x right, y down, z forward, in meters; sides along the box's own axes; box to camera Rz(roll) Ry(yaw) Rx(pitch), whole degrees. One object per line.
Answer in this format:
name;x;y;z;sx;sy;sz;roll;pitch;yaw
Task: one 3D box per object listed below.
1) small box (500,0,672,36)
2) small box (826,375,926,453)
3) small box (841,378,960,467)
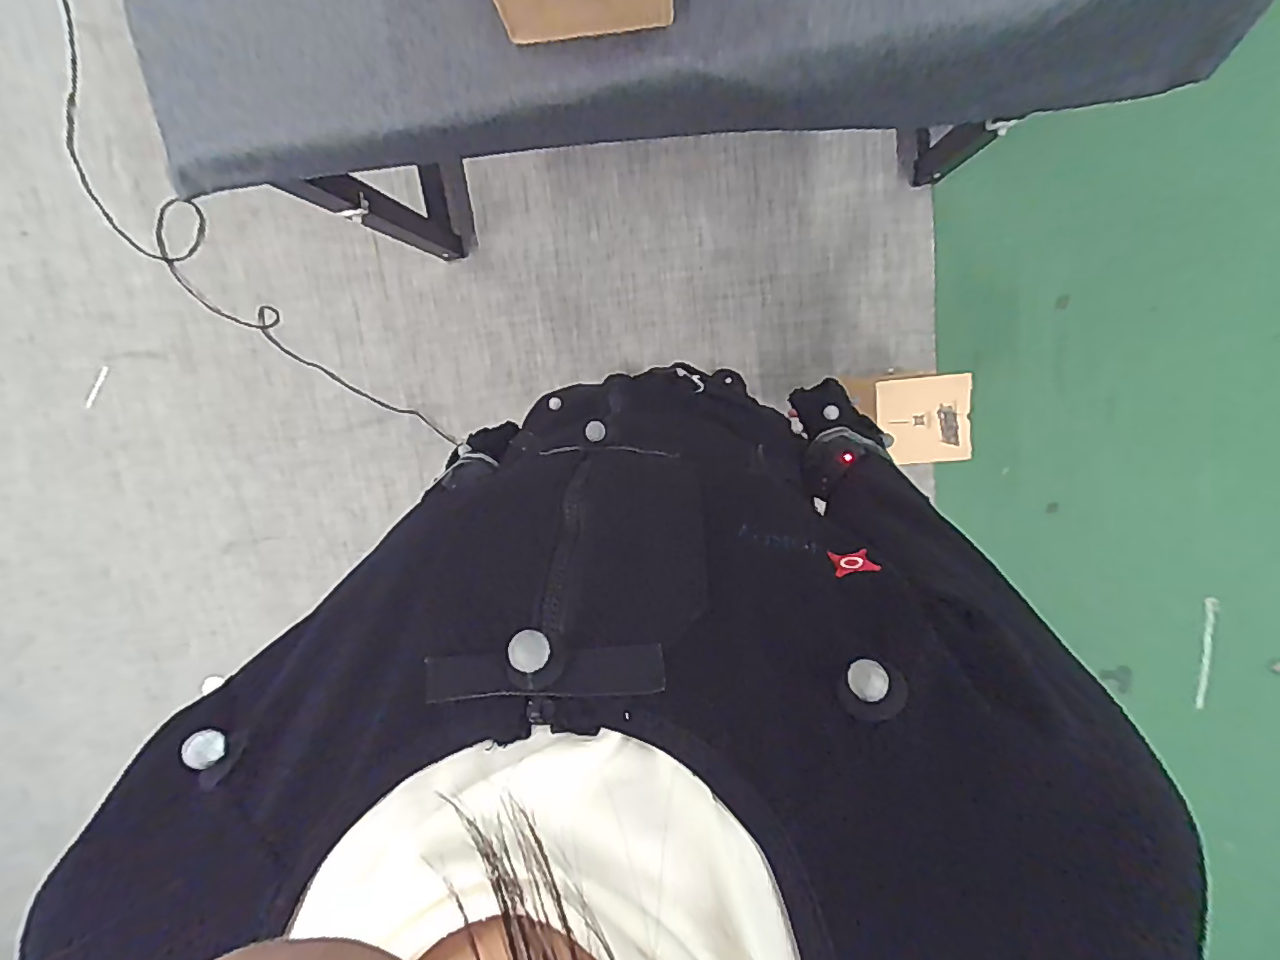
small box;-0.063;-0.549;0.493;0.179;0.176;0.168;-2;101;5
small box;0.553;-0.158;1.278;0.179;0.176;0.168;-6;100;7
small box;0.530;-0.123;1.118;0.179;0.176;0.168;-3;100;6
